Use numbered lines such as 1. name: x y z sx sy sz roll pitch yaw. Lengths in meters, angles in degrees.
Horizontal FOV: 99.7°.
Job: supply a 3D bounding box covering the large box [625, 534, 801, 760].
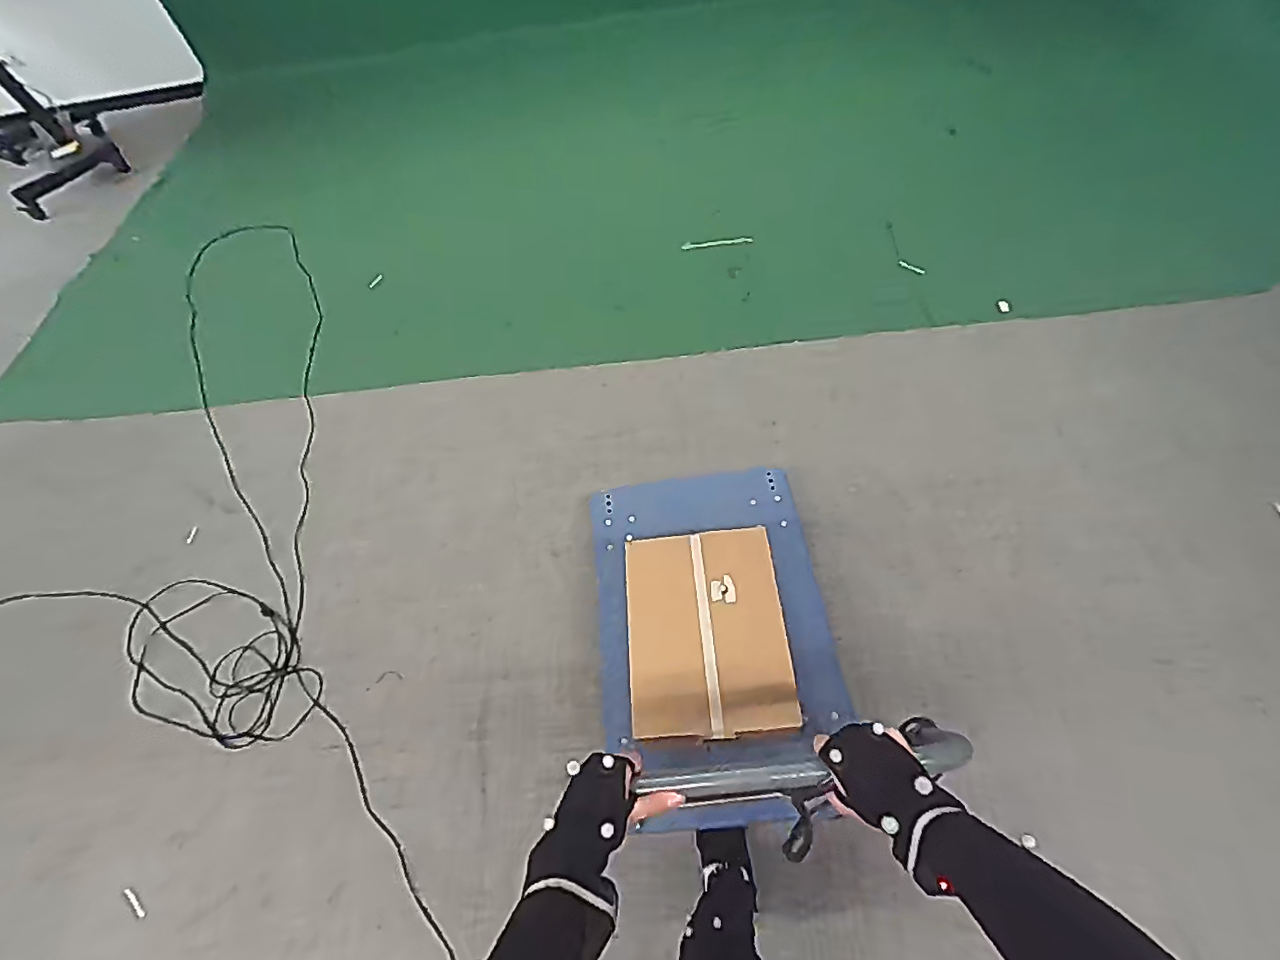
1. large box: 0.150 0.382 1.217 0.320 0.320 0.408 -6 57 4
